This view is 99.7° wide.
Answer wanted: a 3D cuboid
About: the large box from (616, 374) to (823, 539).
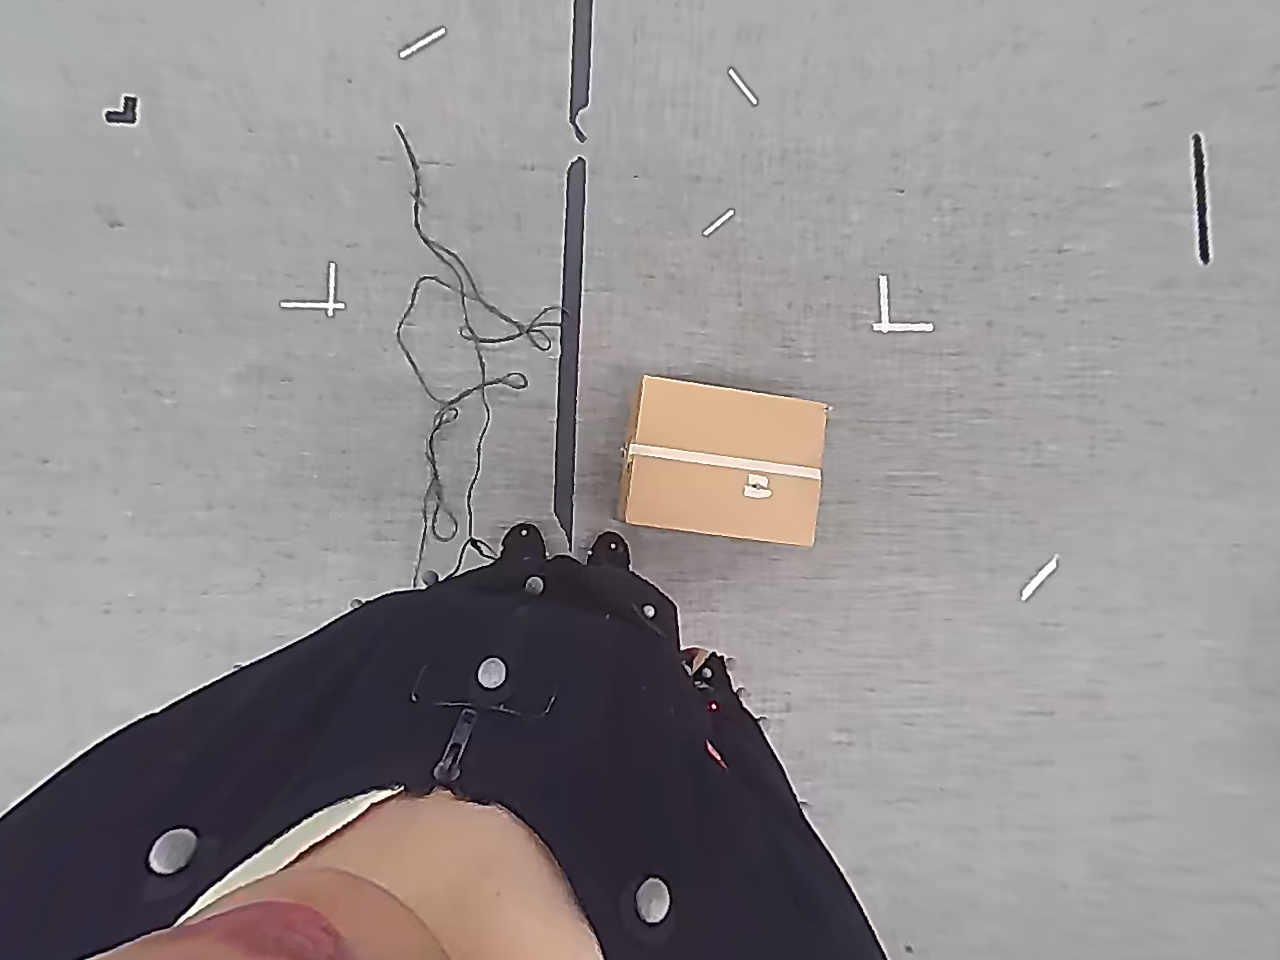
[{"bbox_3d":[0.164,-0.038,1.281,0.408,0.320,0.320,8,86,-6],"label":"large box"}]
